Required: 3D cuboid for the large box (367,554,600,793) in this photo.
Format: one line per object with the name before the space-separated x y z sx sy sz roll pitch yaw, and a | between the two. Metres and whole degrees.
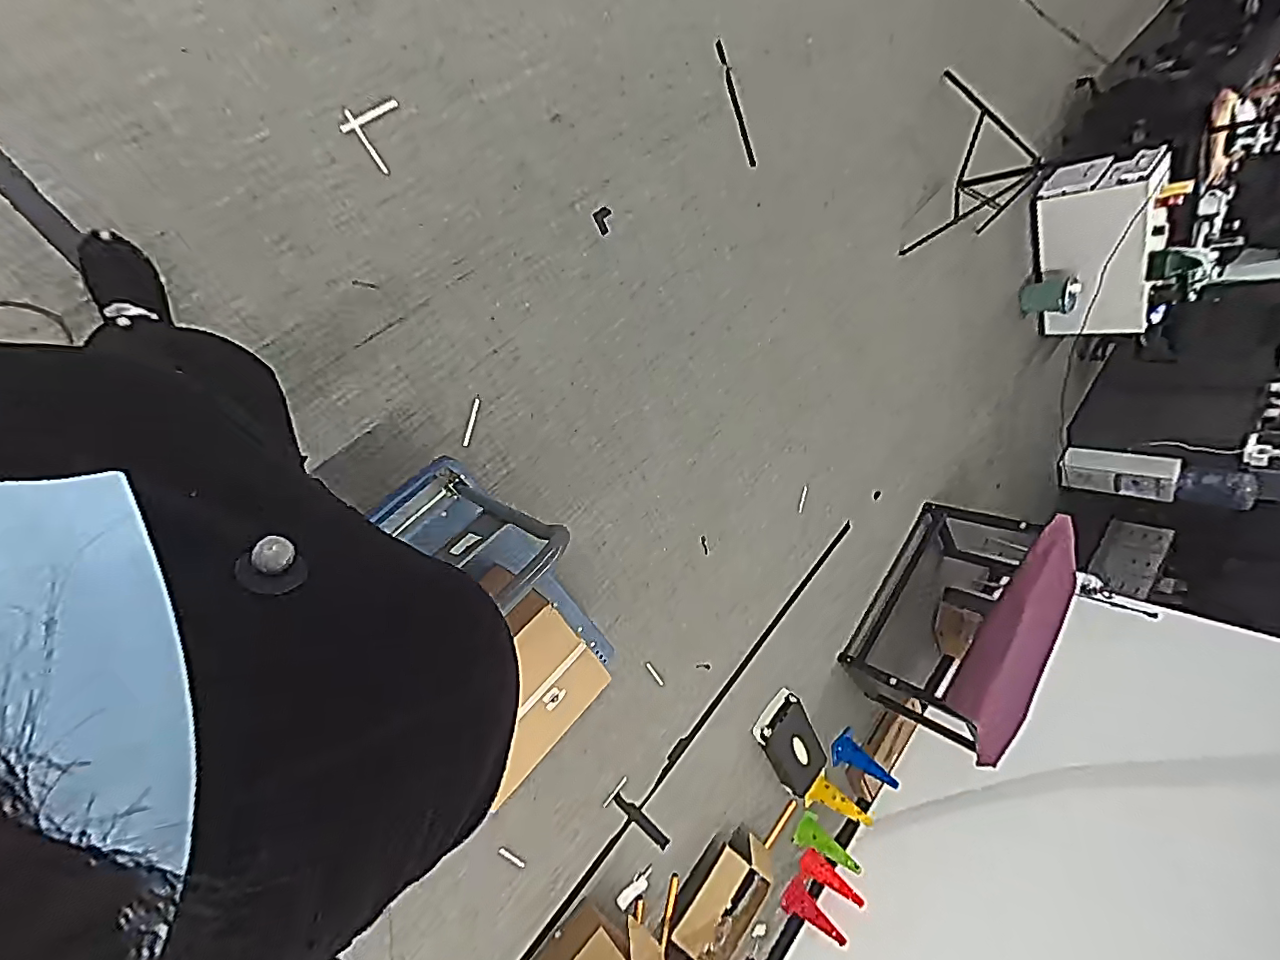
large box | -0.388 0.460 1.357 0.408 0.320 0.320 -45 124 -23
